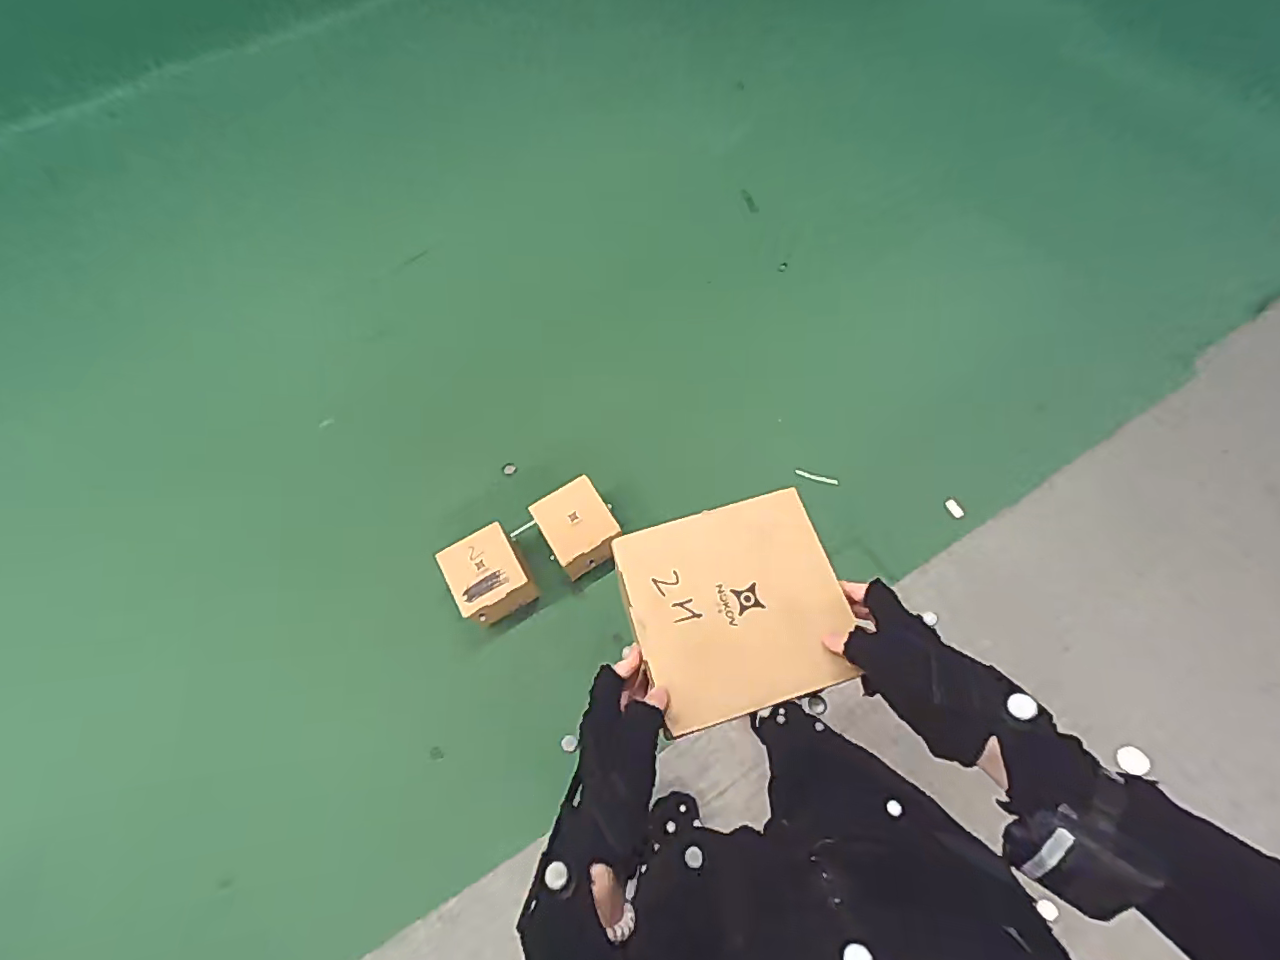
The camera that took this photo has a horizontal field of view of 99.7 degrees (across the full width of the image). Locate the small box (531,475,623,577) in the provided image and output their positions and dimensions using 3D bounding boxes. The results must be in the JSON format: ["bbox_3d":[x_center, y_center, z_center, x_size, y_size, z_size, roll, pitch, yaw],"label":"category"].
[{"bbox_3d":[-0.155,0.123,1.381,0.168,0.176,0.179,-30,72,-11],"label":"small box"}]

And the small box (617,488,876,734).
[{"bbox_3d":[0.083,0.132,0.519,0.179,0.176,0.168,-16,65,-6],"label":"small box"}]
